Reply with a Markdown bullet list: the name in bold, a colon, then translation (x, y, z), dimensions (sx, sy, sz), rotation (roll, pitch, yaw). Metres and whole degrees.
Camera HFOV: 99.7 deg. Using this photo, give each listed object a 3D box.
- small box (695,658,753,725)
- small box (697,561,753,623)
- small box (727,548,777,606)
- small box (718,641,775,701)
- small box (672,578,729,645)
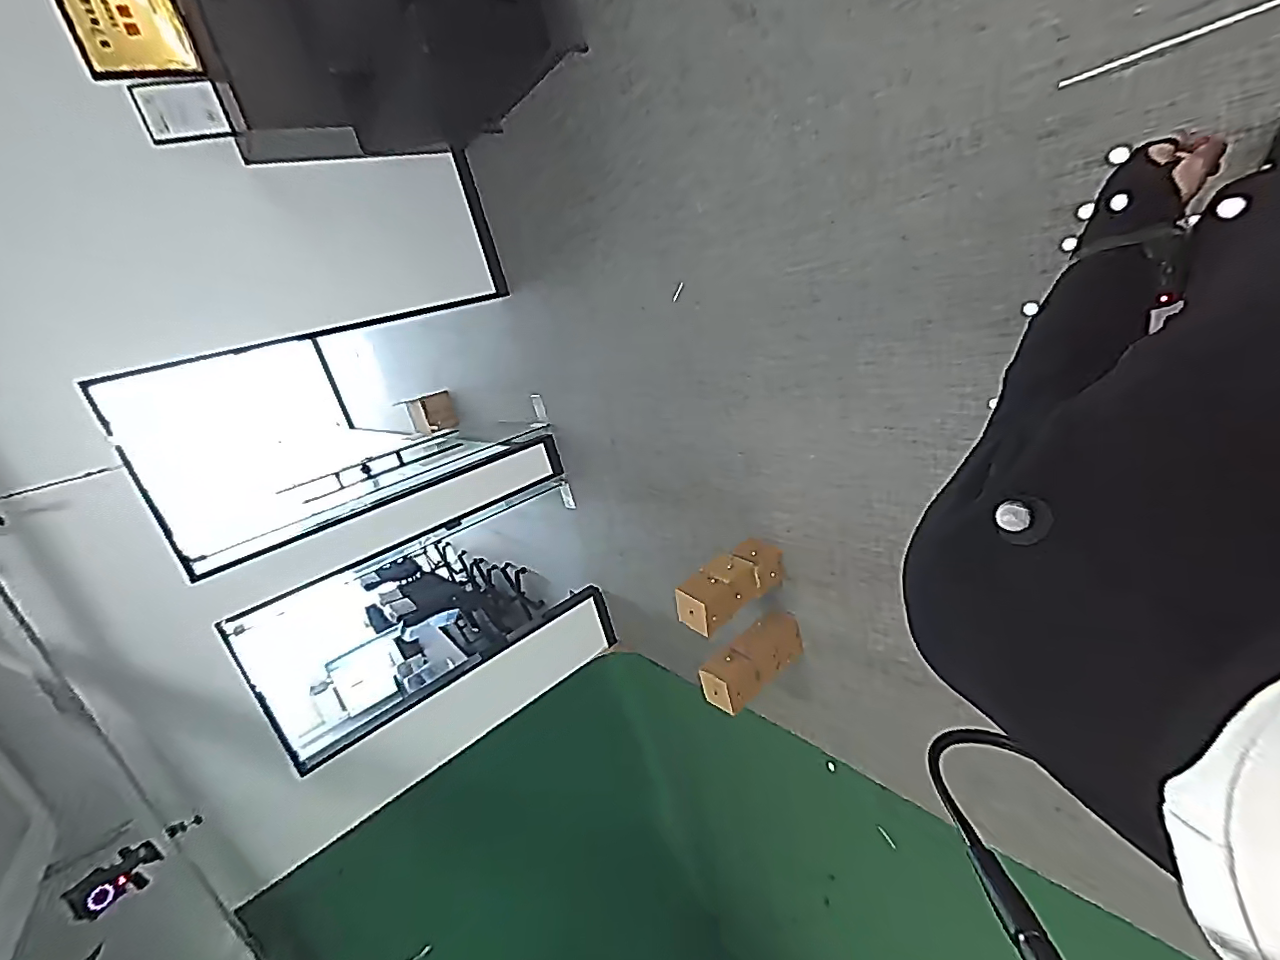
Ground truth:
- **small box**: translation (0.364, 0.899, 2.313), dimensions (0.168, 0.176, 0.179), rotation (7, 116, 51)
- **small box**: translation (0.370, 0.475, 2.330), dimensions (0.168, 0.176, 0.179), rotation (17, 125, 48)
- **small box**: translation (0.499, 0.427, 2.417), dimensions (0.179, 0.176, 0.168), rotation (18, 124, 46)
- **small box**: translation (0.483, 0.845, 2.415), dimensions (0.179, 0.176, 0.168), rotation (7, 116, 53)
- **small box**: translation (0.255, 0.539, 2.234), dimensions (0.168, 0.176, 0.179), rotation (21, 127, 45)
